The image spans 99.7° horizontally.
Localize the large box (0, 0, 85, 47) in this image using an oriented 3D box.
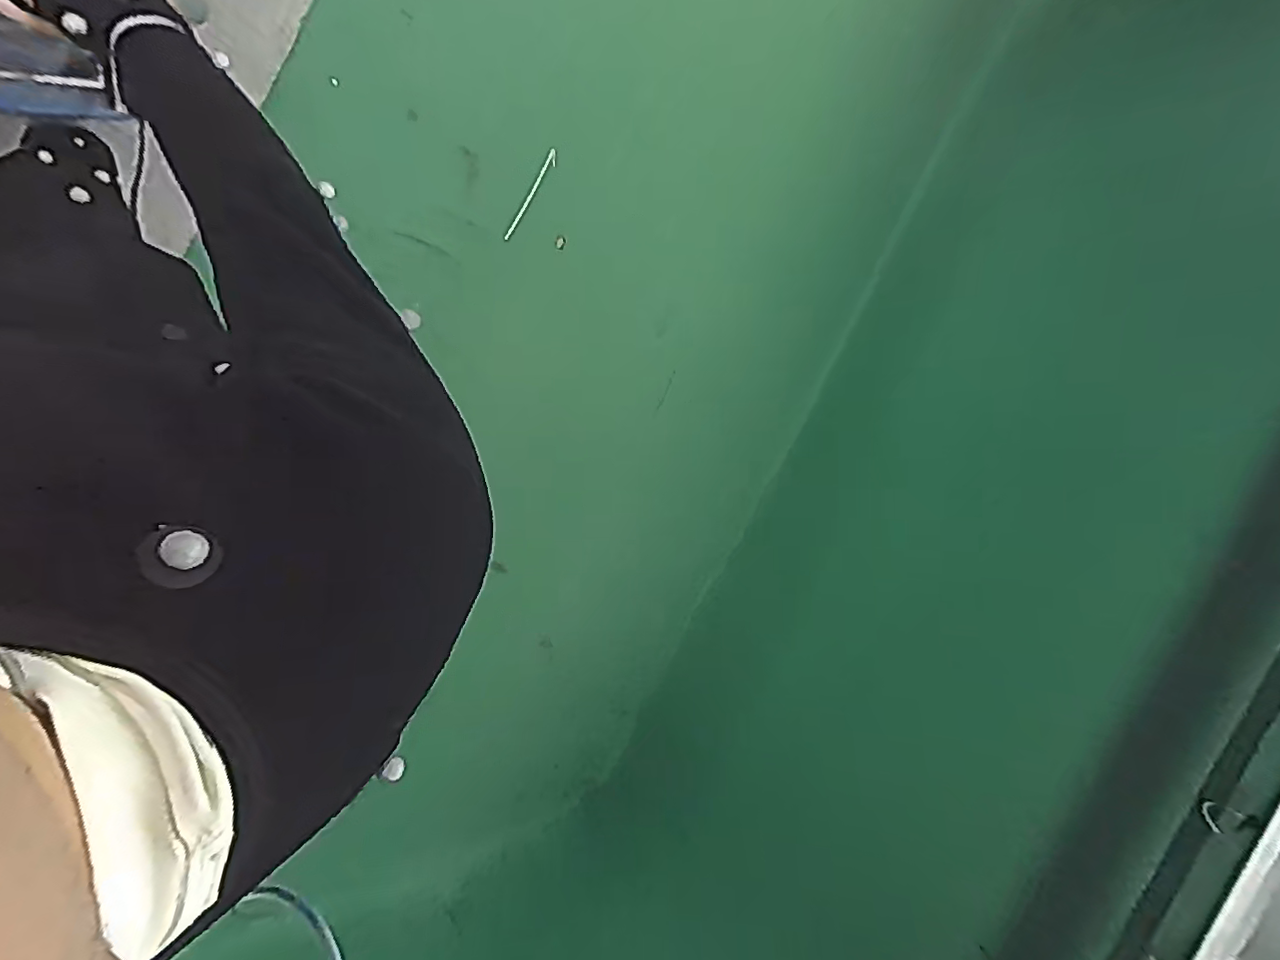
[{"bbox_3d":[-0.924,-0.773,0.602,0.320,0.320,0.408,-25,128,-39],"label":"large box"}]
